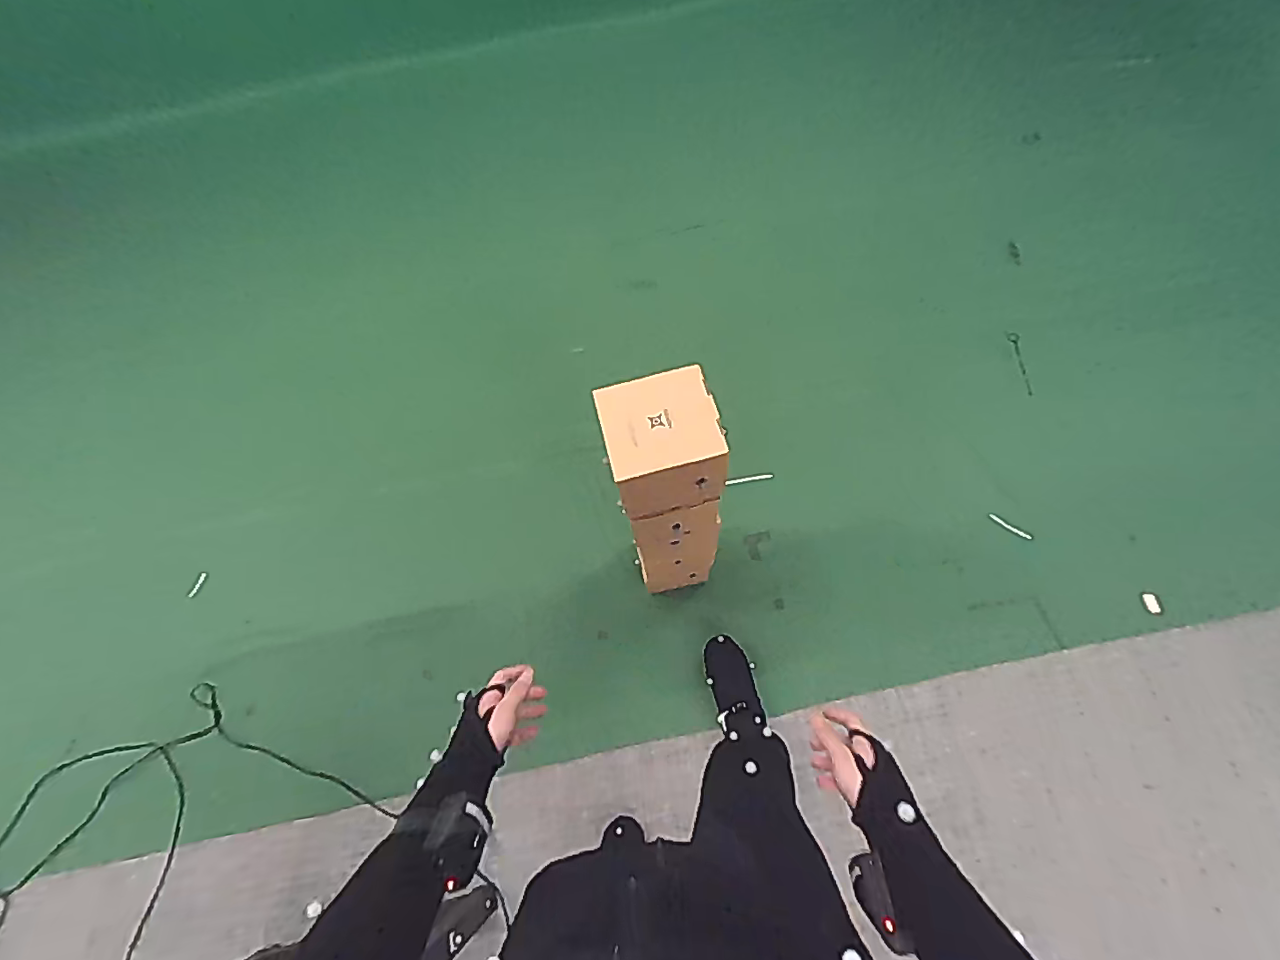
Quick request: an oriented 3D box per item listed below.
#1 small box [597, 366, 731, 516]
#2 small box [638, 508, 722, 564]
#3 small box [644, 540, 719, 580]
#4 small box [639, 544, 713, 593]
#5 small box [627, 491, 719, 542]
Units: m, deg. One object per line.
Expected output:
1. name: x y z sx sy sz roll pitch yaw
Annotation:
1. small box: 0.039 -0.057 0.890 0.179 0.176 0.168 -14 66 0
2. small box: 0.070 0.072 1.189 0.179 0.176 0.168 -16 67 -2
3. small box: 0.086 0.136 1.339 0.179 0.176 0.168 -15 67 -1
4. small box: 0.092 0.202 1.487 0.179 0.176 0.168 -12 67 0
5. small box: 0.049 0.010 1.040 0.168 0.176 0.179 -14 68 -1
